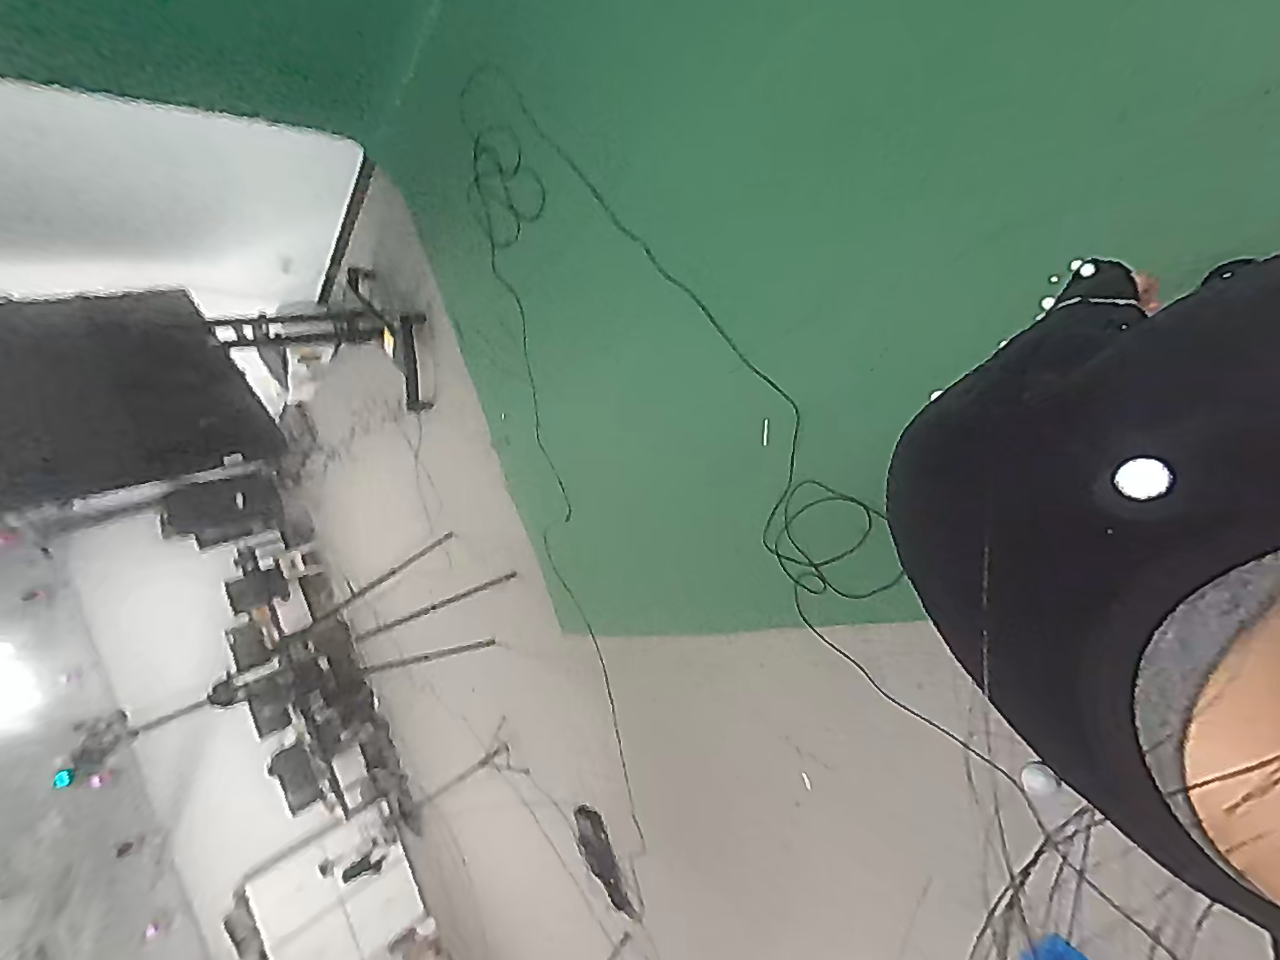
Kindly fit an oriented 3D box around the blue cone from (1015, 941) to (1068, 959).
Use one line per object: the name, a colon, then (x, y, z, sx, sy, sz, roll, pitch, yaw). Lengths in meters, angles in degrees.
blue cone: (1.079, 1.466, 1.416, 0.192, 0.380, 0.193, 34, 129, 32)
